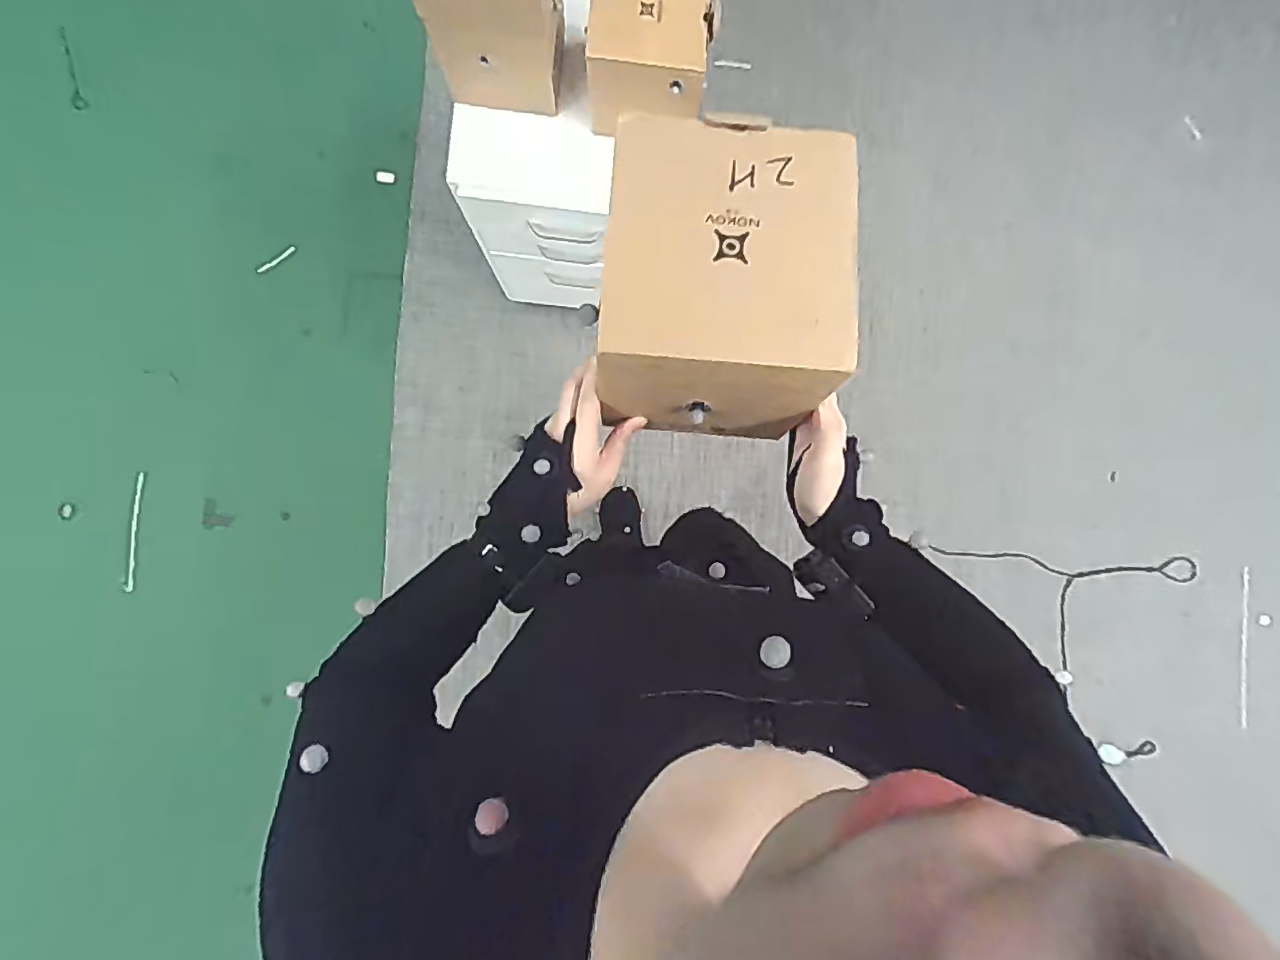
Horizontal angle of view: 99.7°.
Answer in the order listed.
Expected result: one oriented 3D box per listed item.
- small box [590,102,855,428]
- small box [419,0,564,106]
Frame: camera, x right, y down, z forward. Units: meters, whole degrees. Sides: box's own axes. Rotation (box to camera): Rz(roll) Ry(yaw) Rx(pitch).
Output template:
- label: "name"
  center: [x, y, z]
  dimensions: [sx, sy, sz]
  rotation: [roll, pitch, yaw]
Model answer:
- label: "small box"
  center: [0.054, -0.148, 0.428]
  dimensions: [0.168, 0.176, 0.179]
  rotation: [5, 80, -2]
- label: "small box"
  center: [-0.217, -0.715, 0.831]
  dimensions: [0.179, 0.176, 0.168]
  rotation: [5, 89, -3]
